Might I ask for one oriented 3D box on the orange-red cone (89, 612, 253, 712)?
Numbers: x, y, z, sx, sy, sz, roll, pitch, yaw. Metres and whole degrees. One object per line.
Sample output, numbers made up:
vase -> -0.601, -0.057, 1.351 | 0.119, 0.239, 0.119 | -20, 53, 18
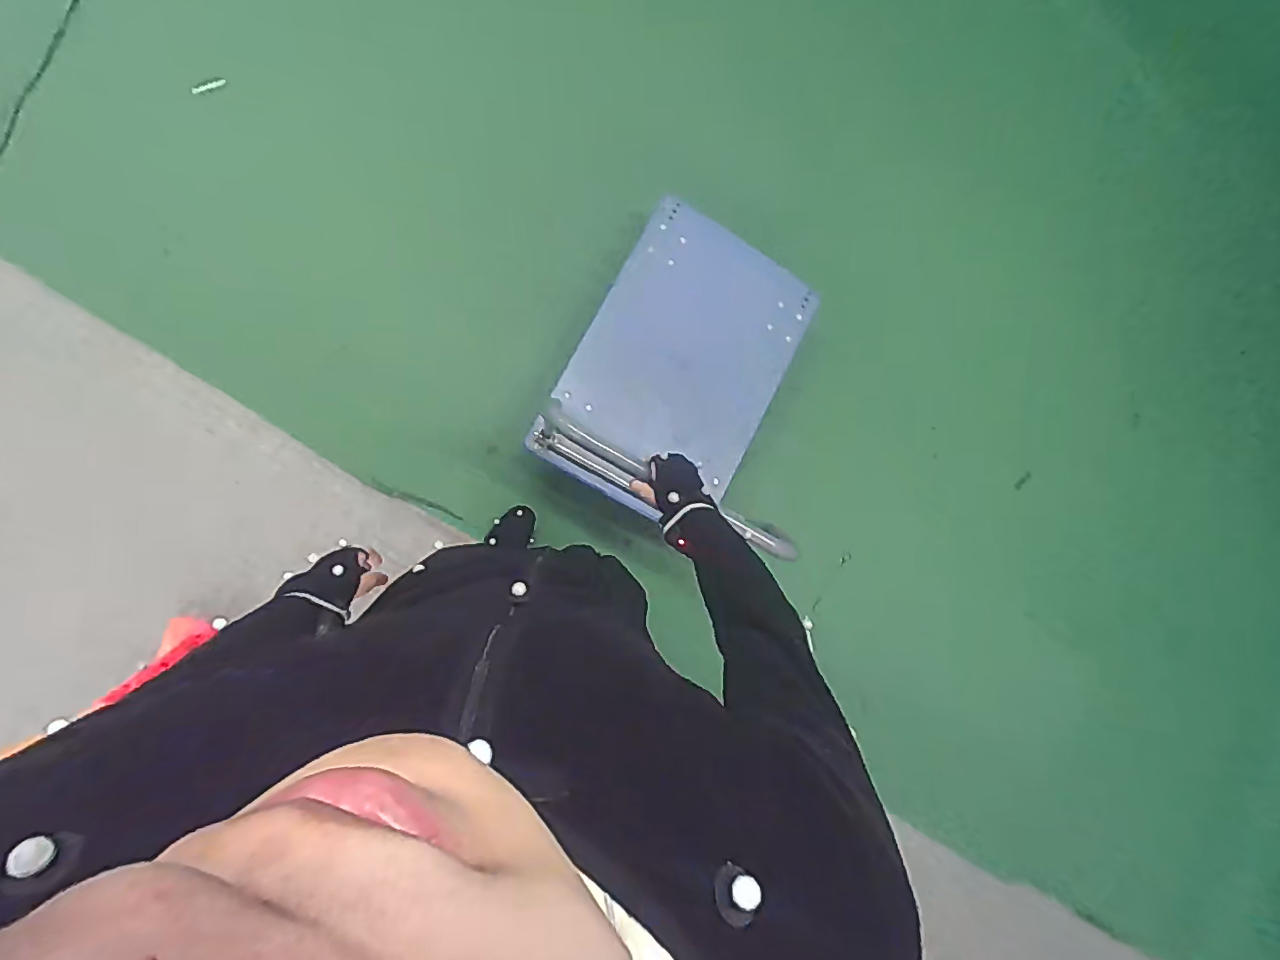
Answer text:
orange-red cone -> -1.106, 0.451, 1.239 | 0.199, 0.360, 0.198 | 20, 83, -10
